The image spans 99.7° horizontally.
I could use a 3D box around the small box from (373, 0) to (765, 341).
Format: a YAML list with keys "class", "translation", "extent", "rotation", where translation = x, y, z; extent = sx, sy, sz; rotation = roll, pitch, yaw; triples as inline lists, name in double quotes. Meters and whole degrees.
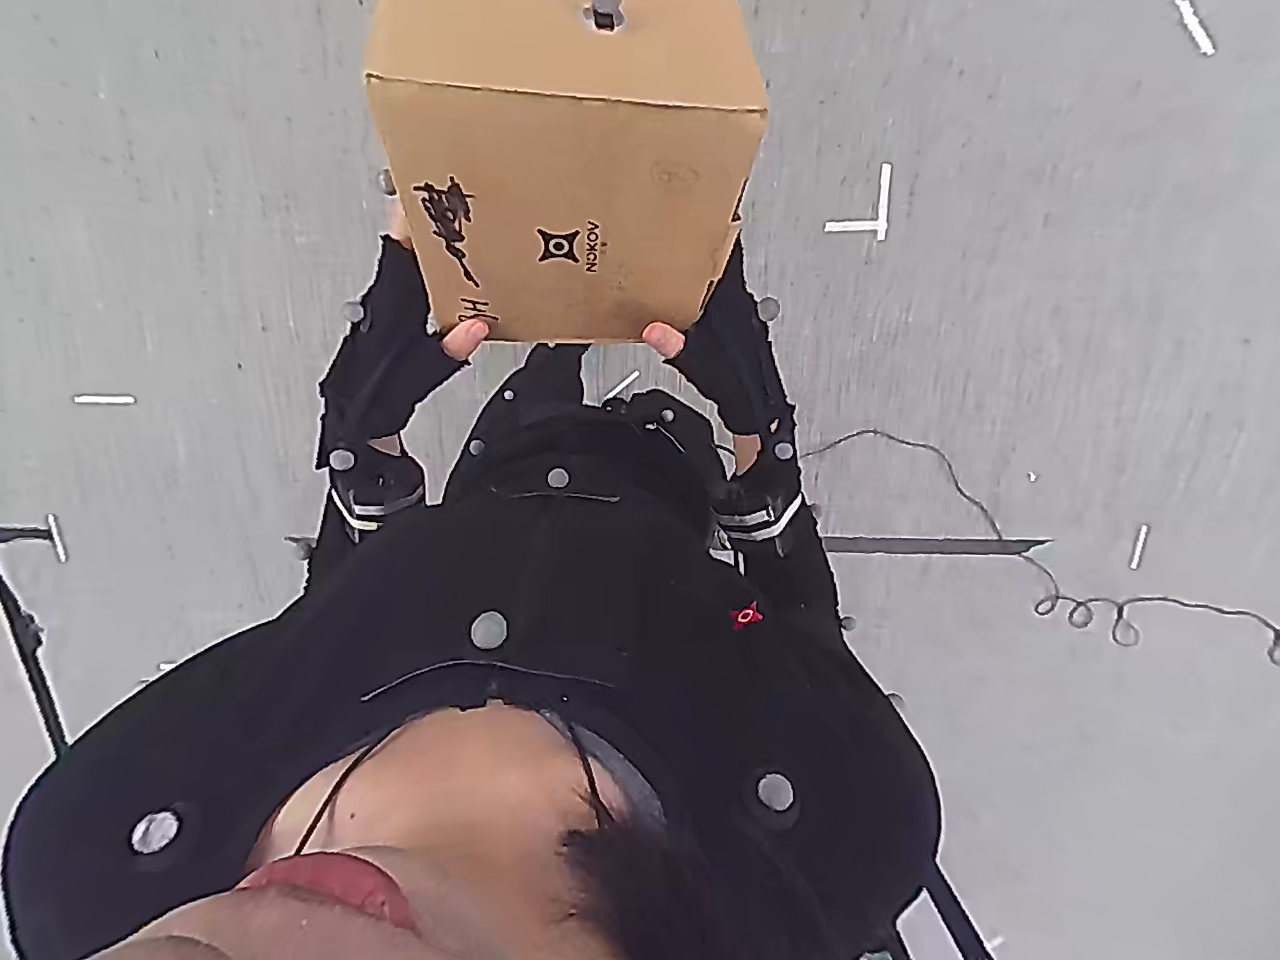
- class: "small box"
  translation: [-0.047, -0.207, 0.337]
  extent: [0.179, 0.168, 0.176]
  rotation: [-2, 65, -10]
